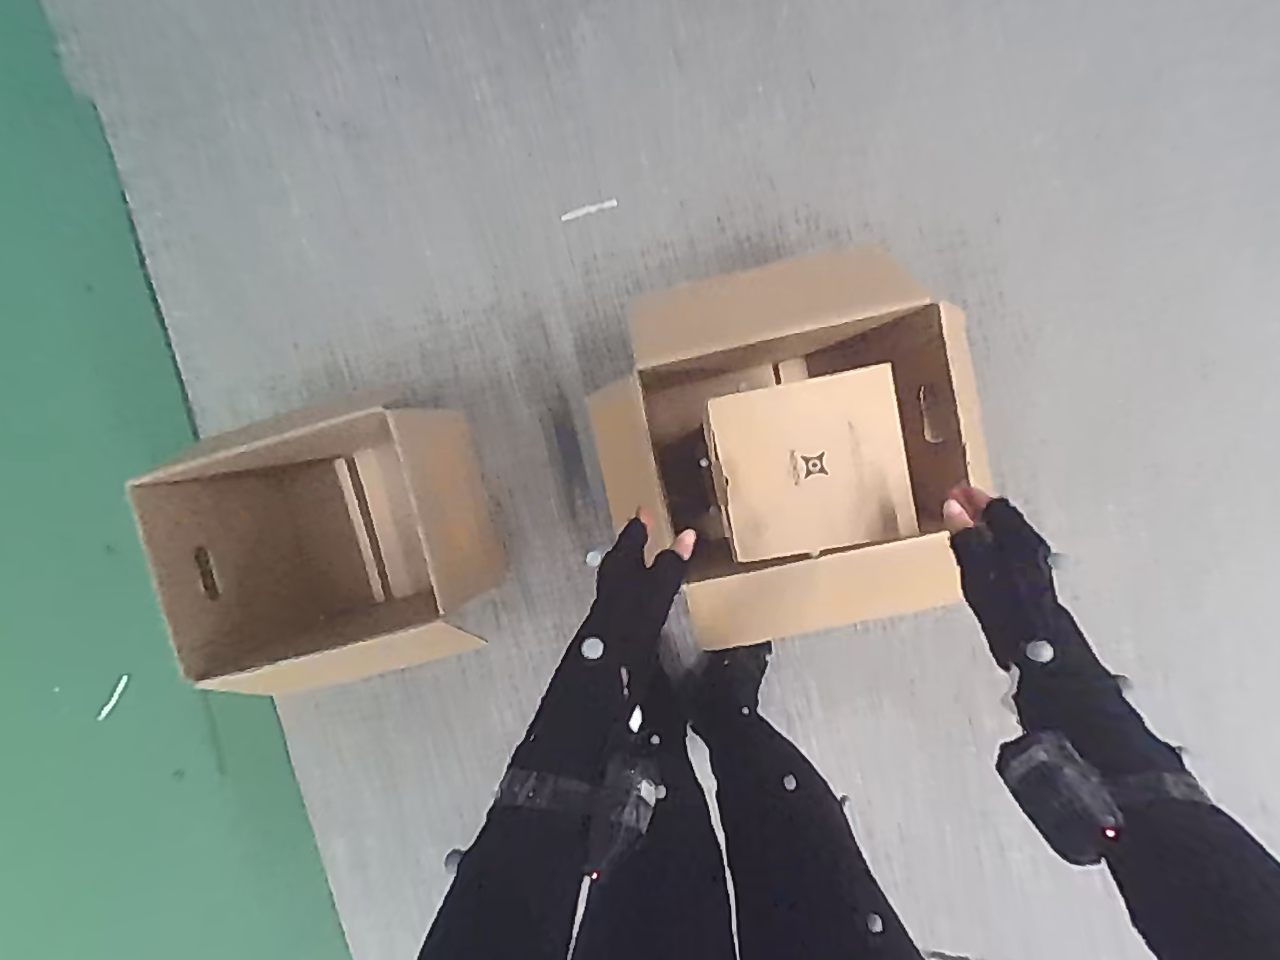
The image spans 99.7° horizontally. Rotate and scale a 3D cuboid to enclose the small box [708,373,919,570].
[{"bbox_3d":[0.175,-0.011,0.601,0.179,0.176,0.168,-12,93,6],"label":"small box"}]
